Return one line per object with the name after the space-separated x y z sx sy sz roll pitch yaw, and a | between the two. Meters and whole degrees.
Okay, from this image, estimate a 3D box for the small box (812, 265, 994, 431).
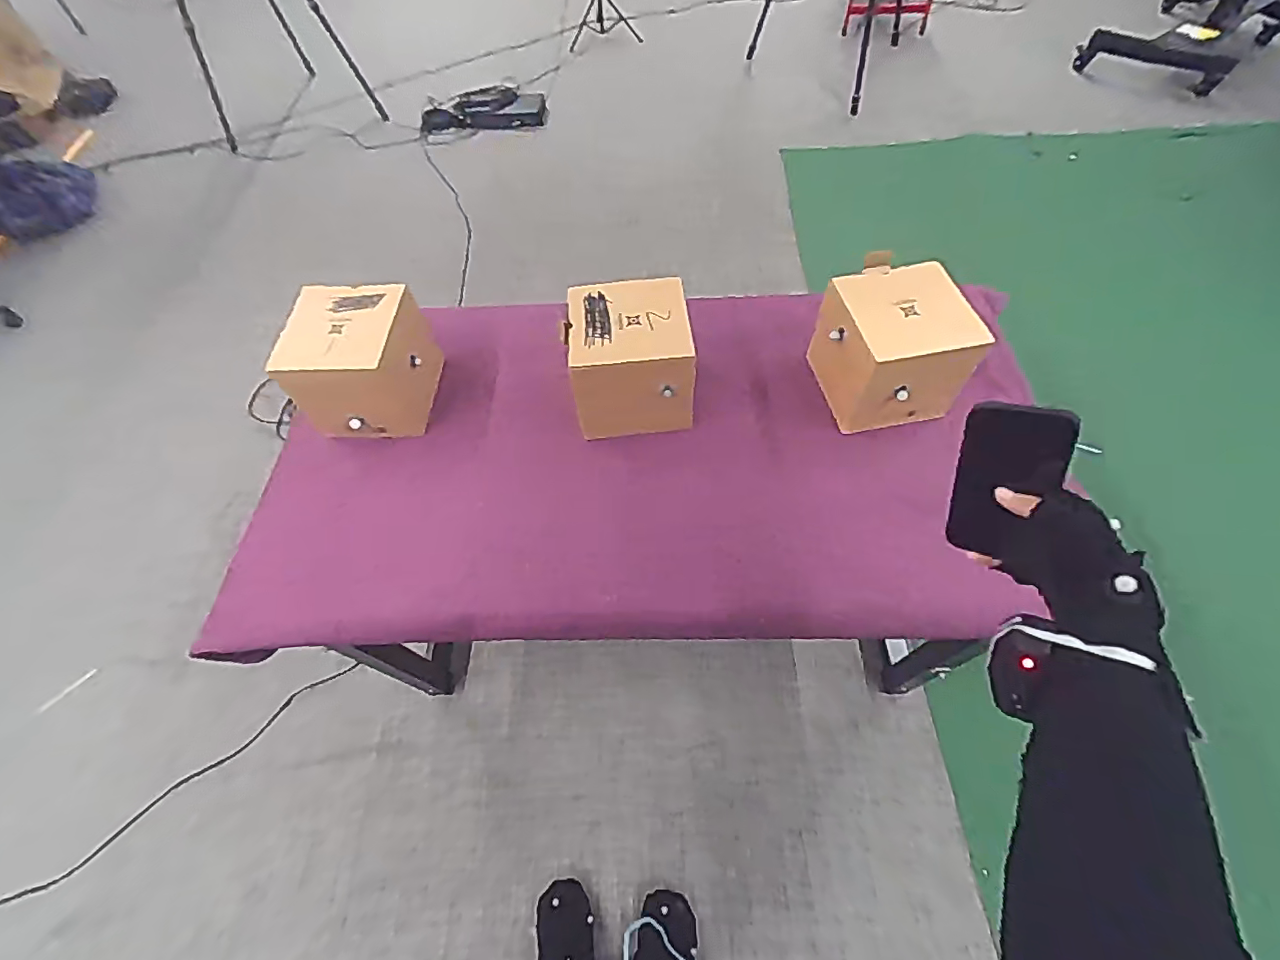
0.380 -0.190 0.820 0.168 0.176 0.179 -10 58 -2 | small box

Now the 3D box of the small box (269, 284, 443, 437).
-0.433 -0.188 0.861 0.168 0.176 0.179 0 60 3 | small box
